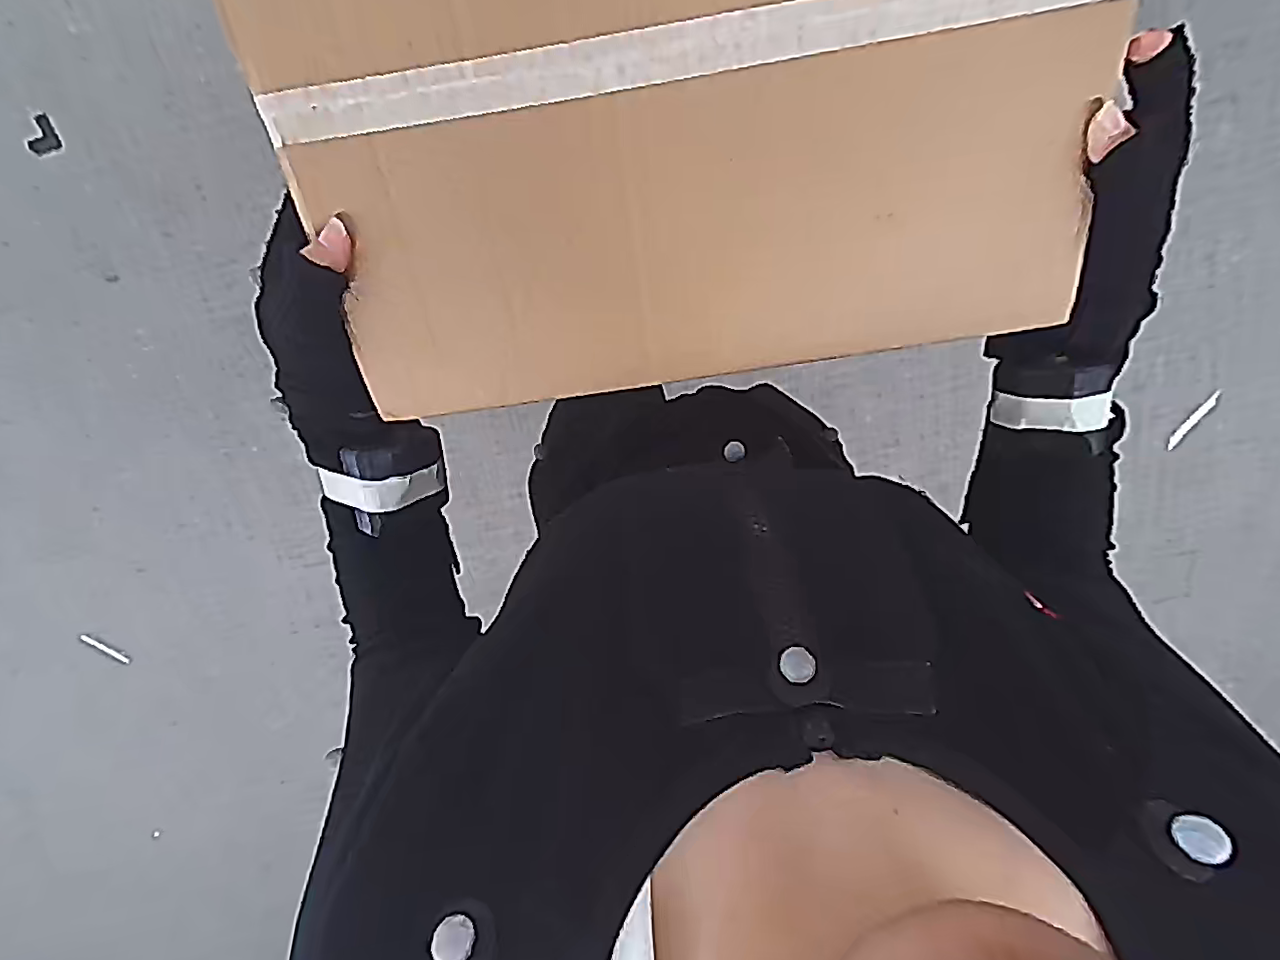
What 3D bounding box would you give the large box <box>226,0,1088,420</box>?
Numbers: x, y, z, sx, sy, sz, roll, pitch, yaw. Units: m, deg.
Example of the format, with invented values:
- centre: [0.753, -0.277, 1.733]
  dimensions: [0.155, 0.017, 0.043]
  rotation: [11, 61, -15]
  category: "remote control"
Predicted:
- centre: [0.013, -0.269, 0.392]
  dimensions: [0.408, 0.320, 0.320]
  rotation: [-8, 116, 3]
  category: "large box"
